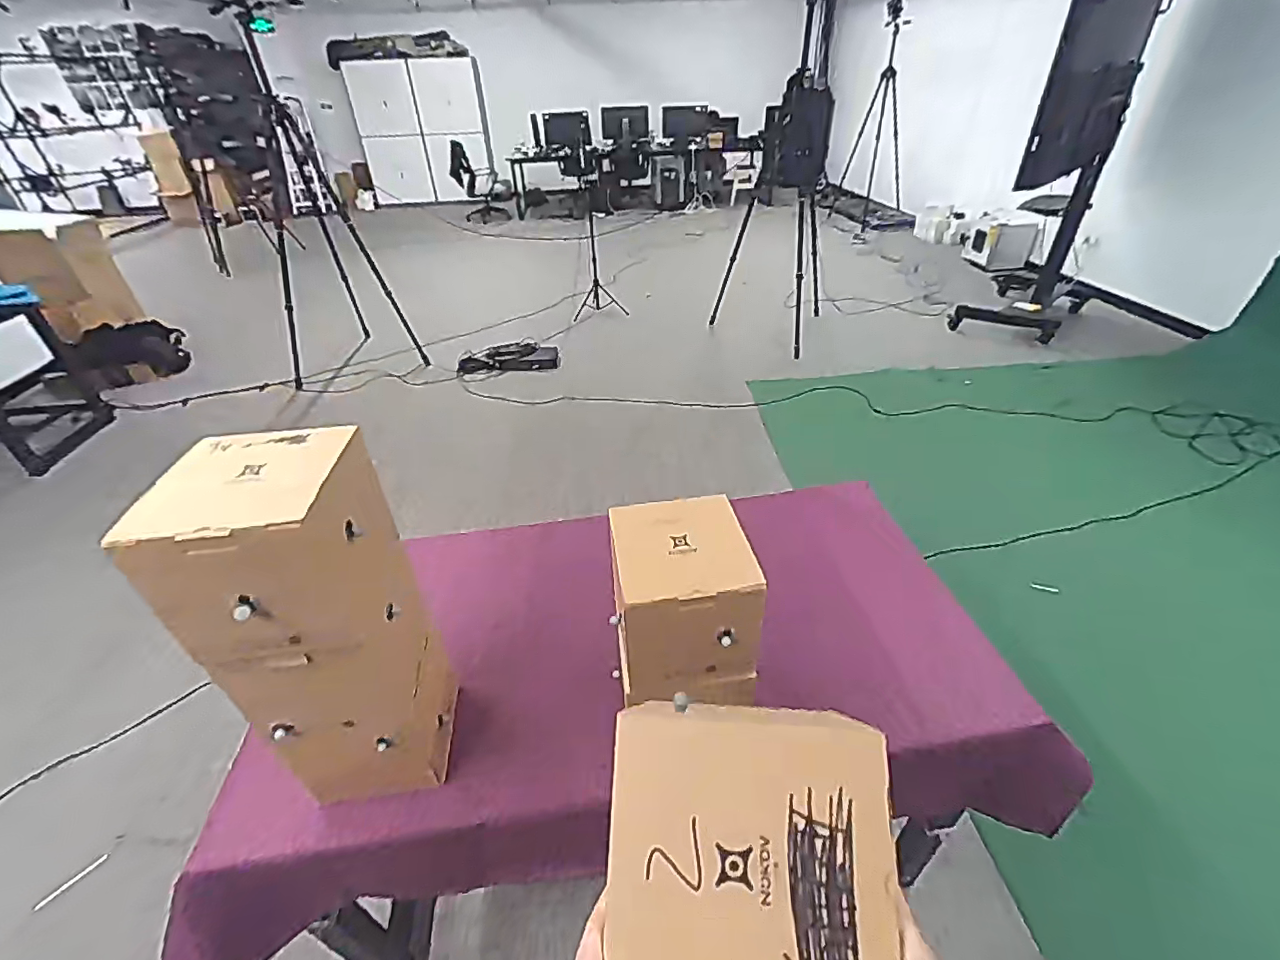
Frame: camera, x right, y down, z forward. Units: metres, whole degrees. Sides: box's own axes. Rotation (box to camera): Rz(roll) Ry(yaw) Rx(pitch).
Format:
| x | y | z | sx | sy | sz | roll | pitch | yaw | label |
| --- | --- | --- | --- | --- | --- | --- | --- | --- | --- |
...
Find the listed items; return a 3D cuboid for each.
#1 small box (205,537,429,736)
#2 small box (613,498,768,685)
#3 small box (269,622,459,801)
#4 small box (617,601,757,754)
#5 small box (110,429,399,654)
| x | y | z | sx | sy | sz | roll | pitch | yaw | label |
| --- | --- | --- | --- | --- | --- | --- | --- | --- | --- |
| -0.378 | 0.197 | 0.677 | 0.168 | 0.176 | 0.179 | -6 | 35 | -6 | small box |
| 0.058 | 0.149 | 0.714 | 0.168 | 0.176 | 0.179 | -6 | 36 | -6 | small box |
| -0.373 | 0.330 | 0.772 | 0.179 | 0.176 | 0.168 | -6 | 36 | -6 | small box |
| 0.064 | 0.285 | 0.805 | 0.179 | 0.176 | 0.168 | -5 | 37 | -4 | small box |
| -0.376 | 0.067 | 0.575 | 0.168 | 0.176 | 0.179 | -5 | 37 | -6 | small box |
